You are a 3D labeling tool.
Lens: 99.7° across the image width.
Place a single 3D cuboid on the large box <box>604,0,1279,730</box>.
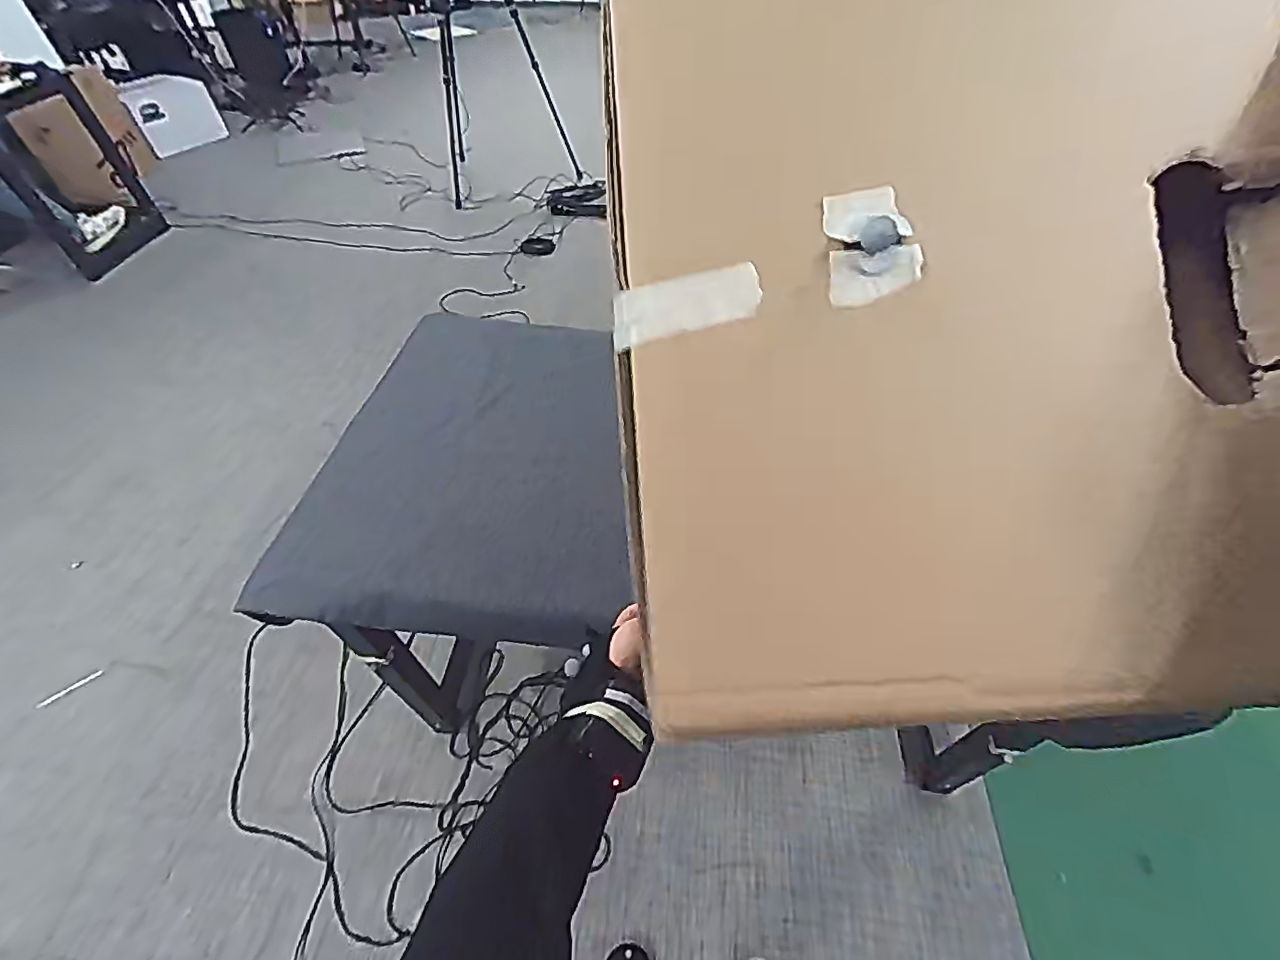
[{"bbox_3d":[0.147,-0.053,0.410,0.320,0.408,0.320,-4,85,-1],"label":"large box"}]
